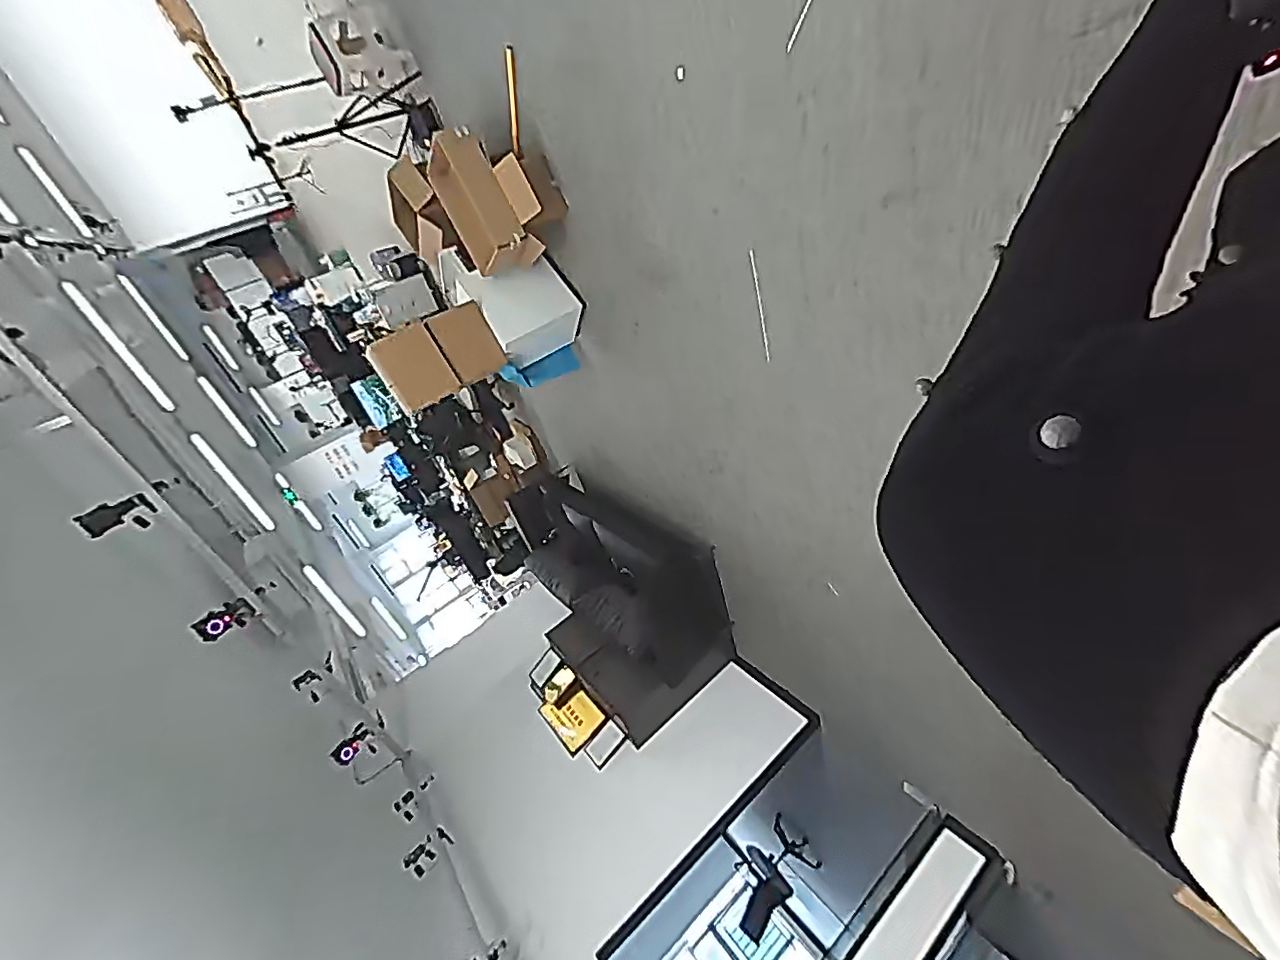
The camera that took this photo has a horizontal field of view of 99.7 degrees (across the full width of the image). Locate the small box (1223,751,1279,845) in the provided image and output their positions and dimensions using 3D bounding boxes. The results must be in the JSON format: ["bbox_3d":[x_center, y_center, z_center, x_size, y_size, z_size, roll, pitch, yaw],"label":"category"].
[{"bbox_3d":[1.852,0.925,1.550,0.179,0.176,0.168,33,148,45],"label":"small box"}]

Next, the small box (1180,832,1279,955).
[{"bbox_3d":[1.594,1.079,1.418,0.179,0.176,0.168,34,148,43],"label":"small box"}]
